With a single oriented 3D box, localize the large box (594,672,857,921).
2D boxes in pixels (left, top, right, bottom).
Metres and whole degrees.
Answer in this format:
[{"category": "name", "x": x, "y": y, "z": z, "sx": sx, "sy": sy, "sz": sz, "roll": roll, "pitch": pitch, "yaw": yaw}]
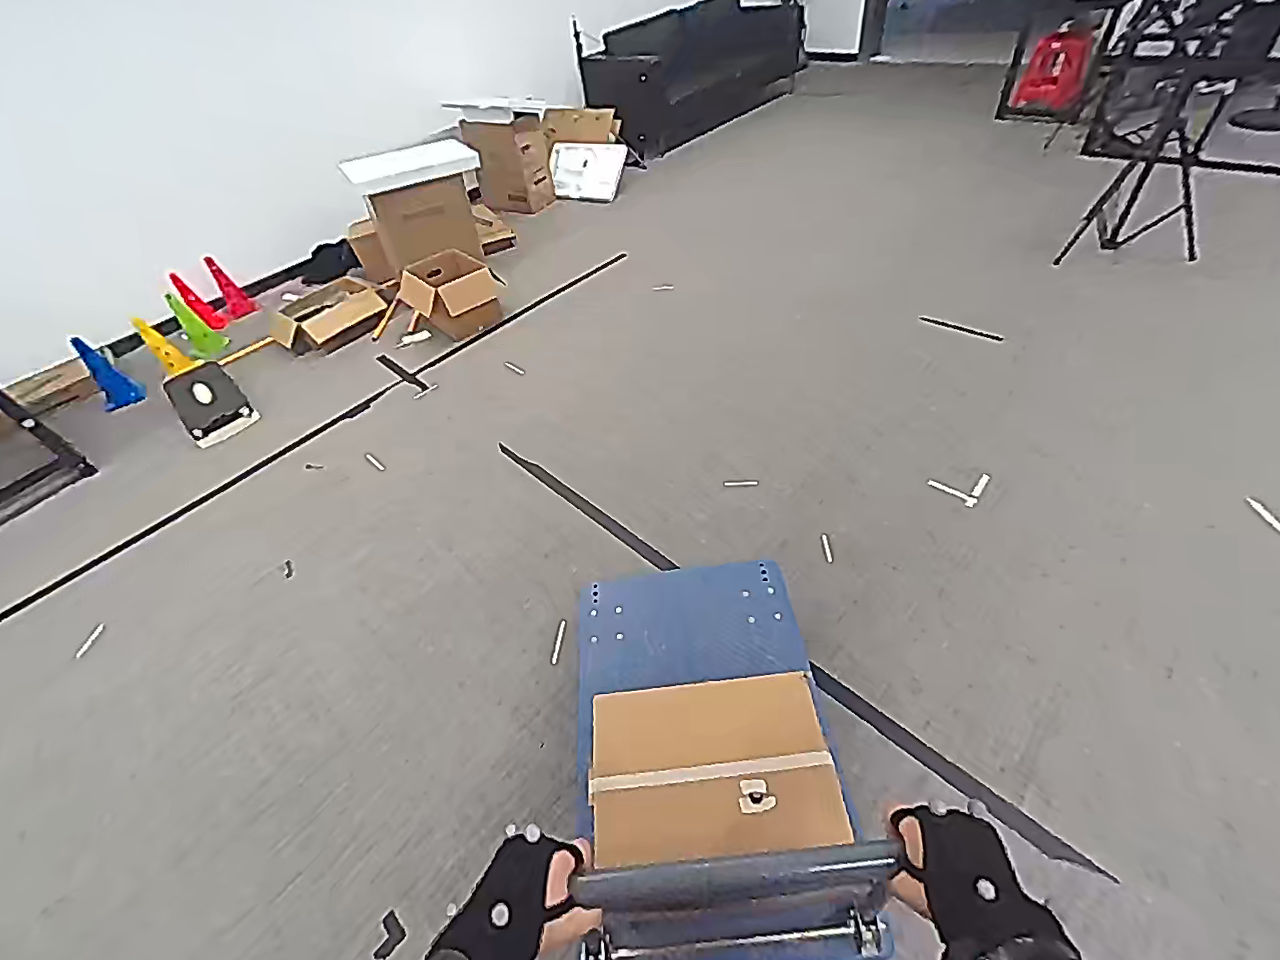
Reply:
[{"category": "large box", "x": 0.135, "y": 0.602, "z": 1.026, "sx": 0.408, "sy": 0.320, "sz": 0.320, "roll": -7, "pitch": 46, "yaw": 1}]
